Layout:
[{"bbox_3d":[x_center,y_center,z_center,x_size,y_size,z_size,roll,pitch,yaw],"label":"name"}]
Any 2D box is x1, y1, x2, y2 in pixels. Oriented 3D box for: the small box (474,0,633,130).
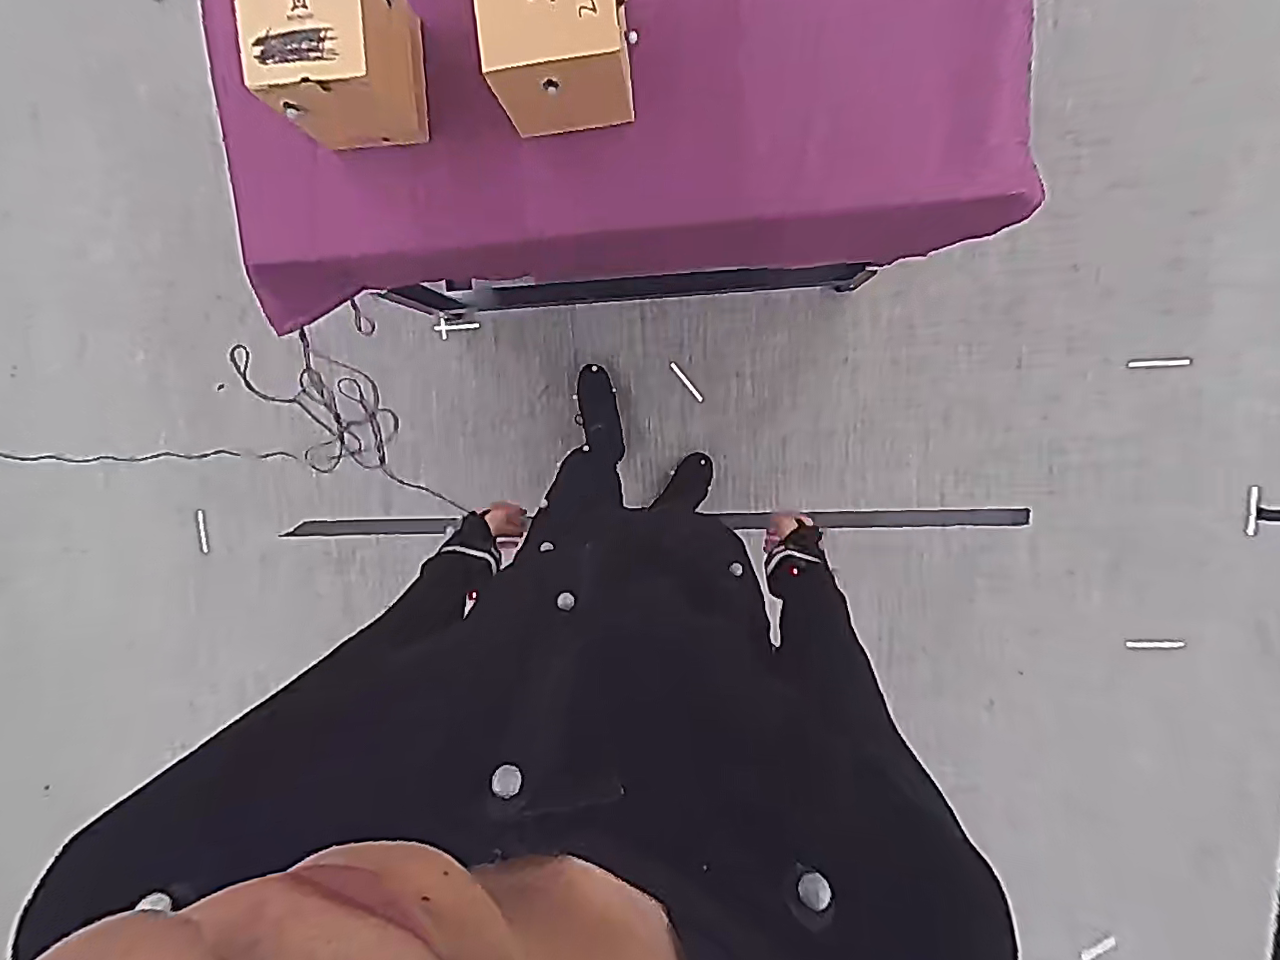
[{"bbox_3d":[-0.109,-0.602,0.727,0.179,0.176,0.168,-4,98,5],"label":"small box"}]
